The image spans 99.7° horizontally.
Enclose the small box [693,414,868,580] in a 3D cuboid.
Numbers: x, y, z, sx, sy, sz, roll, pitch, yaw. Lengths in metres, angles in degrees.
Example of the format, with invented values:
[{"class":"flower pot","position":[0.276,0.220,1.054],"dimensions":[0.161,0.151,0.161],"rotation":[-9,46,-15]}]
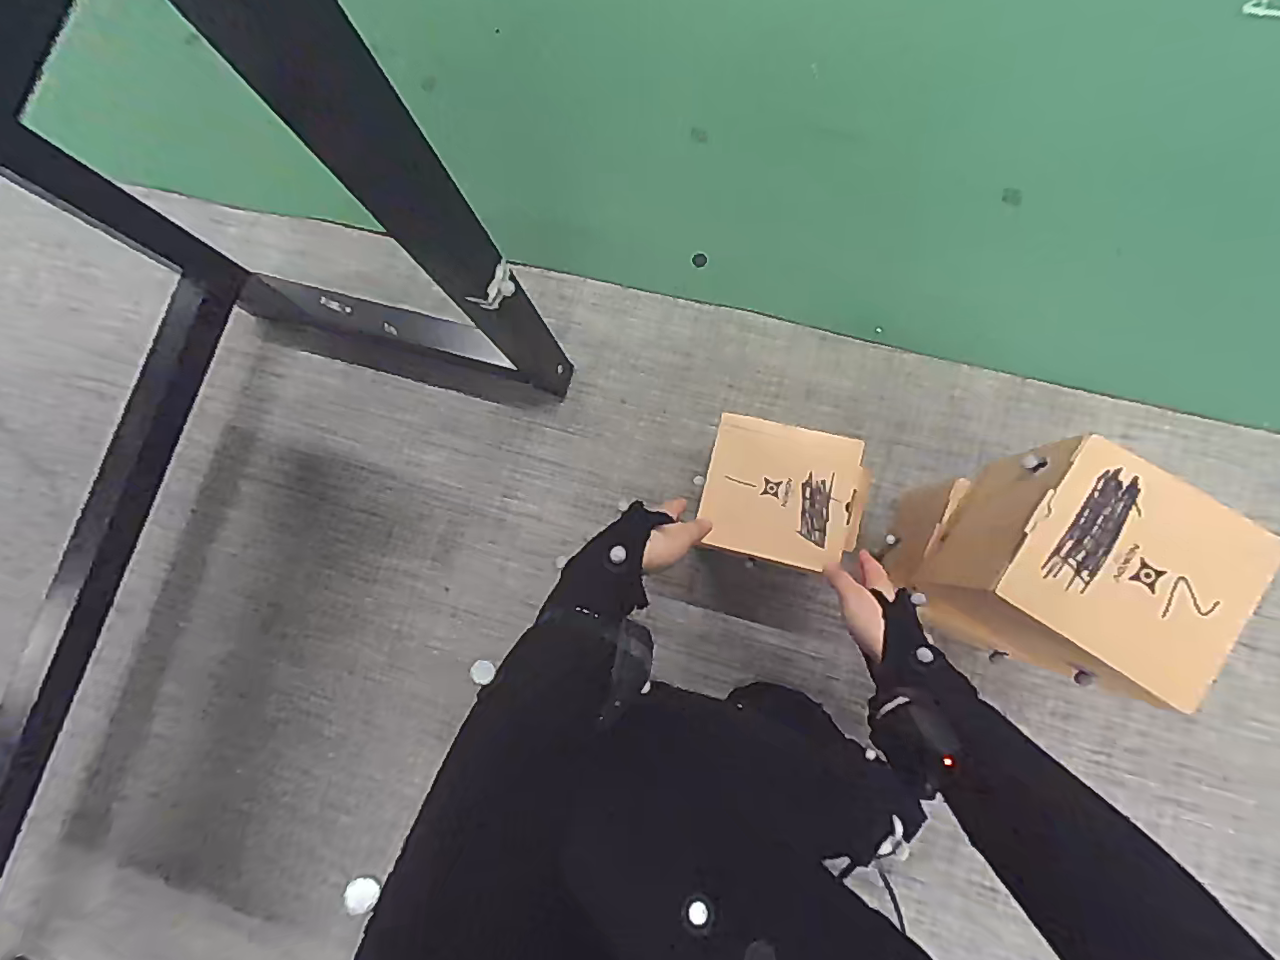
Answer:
[{"class":"small box","position":[0.175,0.027,0.719],"dimensions":[0.179,0.176,0.168],"rotation":[14,83,8]}]

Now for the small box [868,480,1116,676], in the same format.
[{"class":"small box","position":[0.422,0.115,0.680],"dimensions":[0.179,0.176,0.168],"rotation":[24,85,8]}]
